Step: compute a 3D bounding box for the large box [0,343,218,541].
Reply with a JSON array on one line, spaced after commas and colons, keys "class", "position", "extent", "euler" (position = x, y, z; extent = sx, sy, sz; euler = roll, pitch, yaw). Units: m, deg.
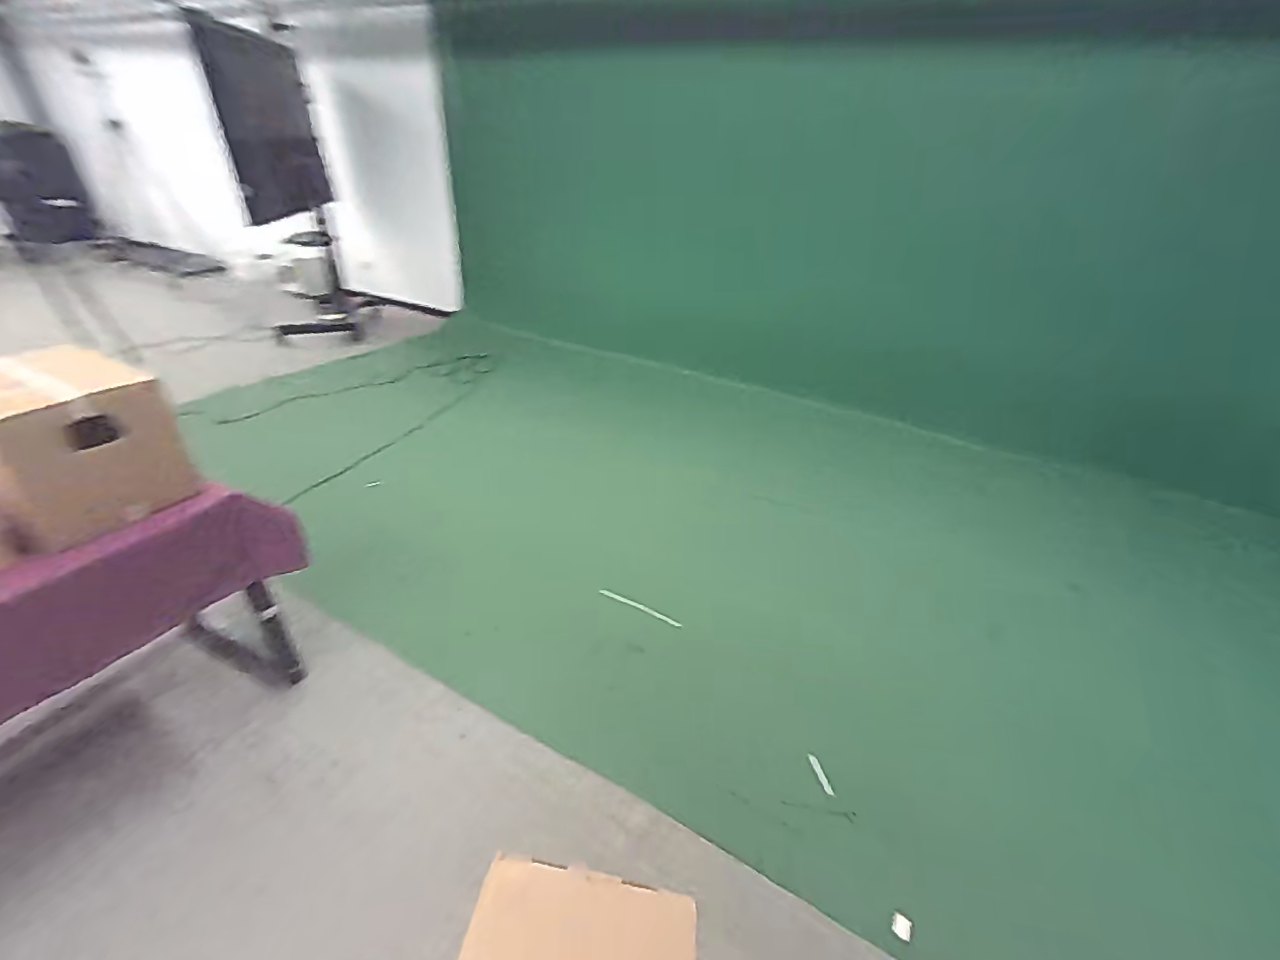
[{"class": "large box", "position": [-1.338, -0.108, 1.305], "extent": [0.408, 0.320, 0.320], "euler": [20, 35, 22]}]
